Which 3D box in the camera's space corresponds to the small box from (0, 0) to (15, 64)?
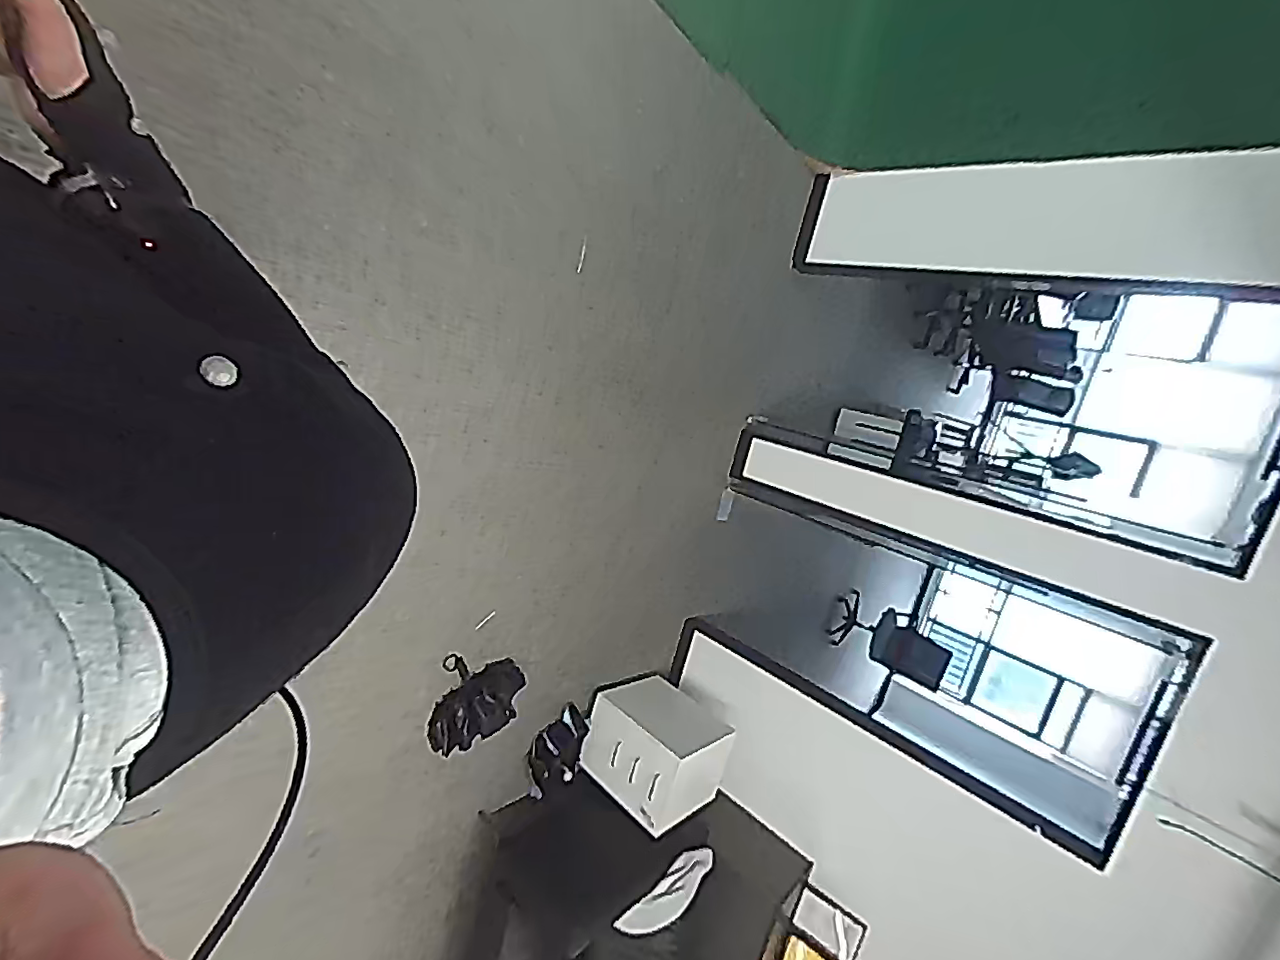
[{"bbox_3d":[-0.462,-0.336,0.262,0.179,0.176,0.168,-11,114,-41],"label":"small box"}]
